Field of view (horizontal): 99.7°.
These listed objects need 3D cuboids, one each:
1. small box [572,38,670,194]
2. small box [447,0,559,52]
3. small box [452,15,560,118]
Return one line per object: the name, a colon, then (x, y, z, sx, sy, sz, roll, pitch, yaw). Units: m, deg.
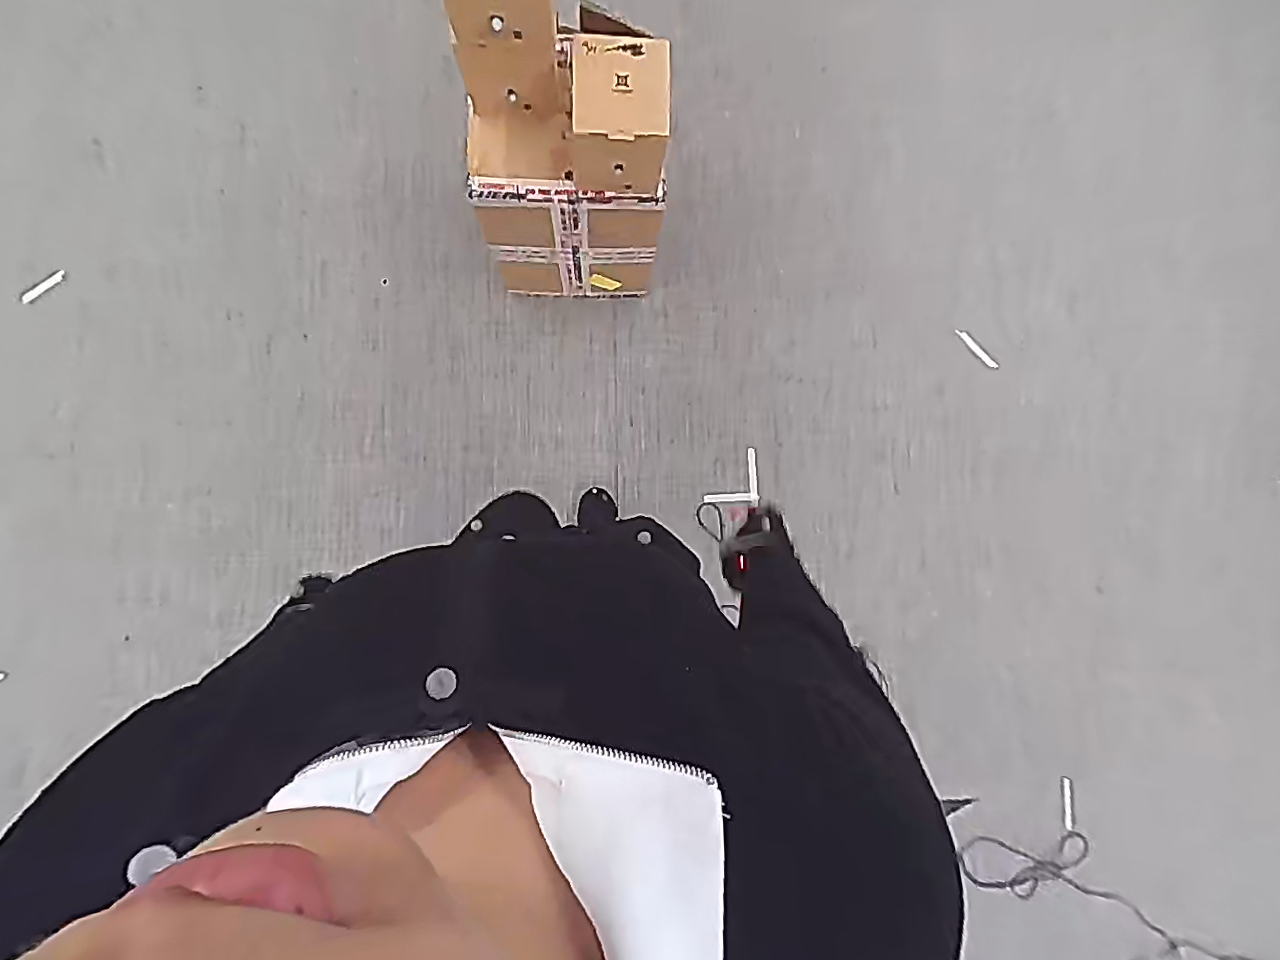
small box: (-0.037, -0.652, 0.989, 0.168, 0.176, 0.179, 0, 88, -5)
small box: (-0.214, -0.804, 0.819, 0.168, 0.176, 0.179, 0, 89, -2)
small box: (-0.238, -0.801, 0.983, 0.168, 0.176, 0.179, -4, 88, -2)
